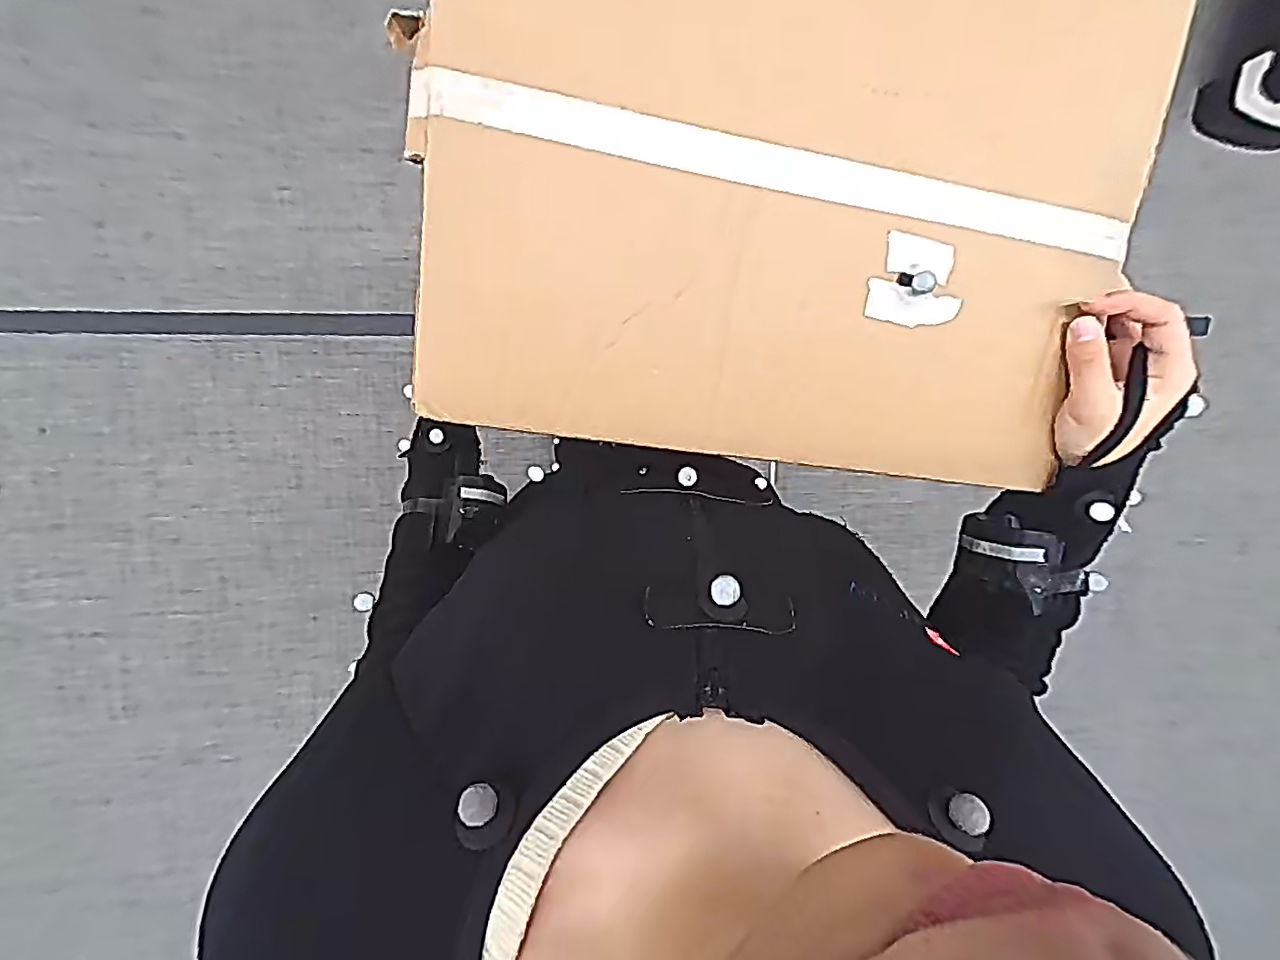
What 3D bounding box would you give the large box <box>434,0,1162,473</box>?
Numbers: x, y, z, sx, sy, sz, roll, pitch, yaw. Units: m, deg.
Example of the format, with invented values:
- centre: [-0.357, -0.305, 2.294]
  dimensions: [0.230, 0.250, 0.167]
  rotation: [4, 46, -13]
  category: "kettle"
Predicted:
- centre: [0.070, -0.200, 0.447]
  dimensions: [0.408, 0.320, 0.320]
  rotation: [6, 102, -12]
  category: "large box"
